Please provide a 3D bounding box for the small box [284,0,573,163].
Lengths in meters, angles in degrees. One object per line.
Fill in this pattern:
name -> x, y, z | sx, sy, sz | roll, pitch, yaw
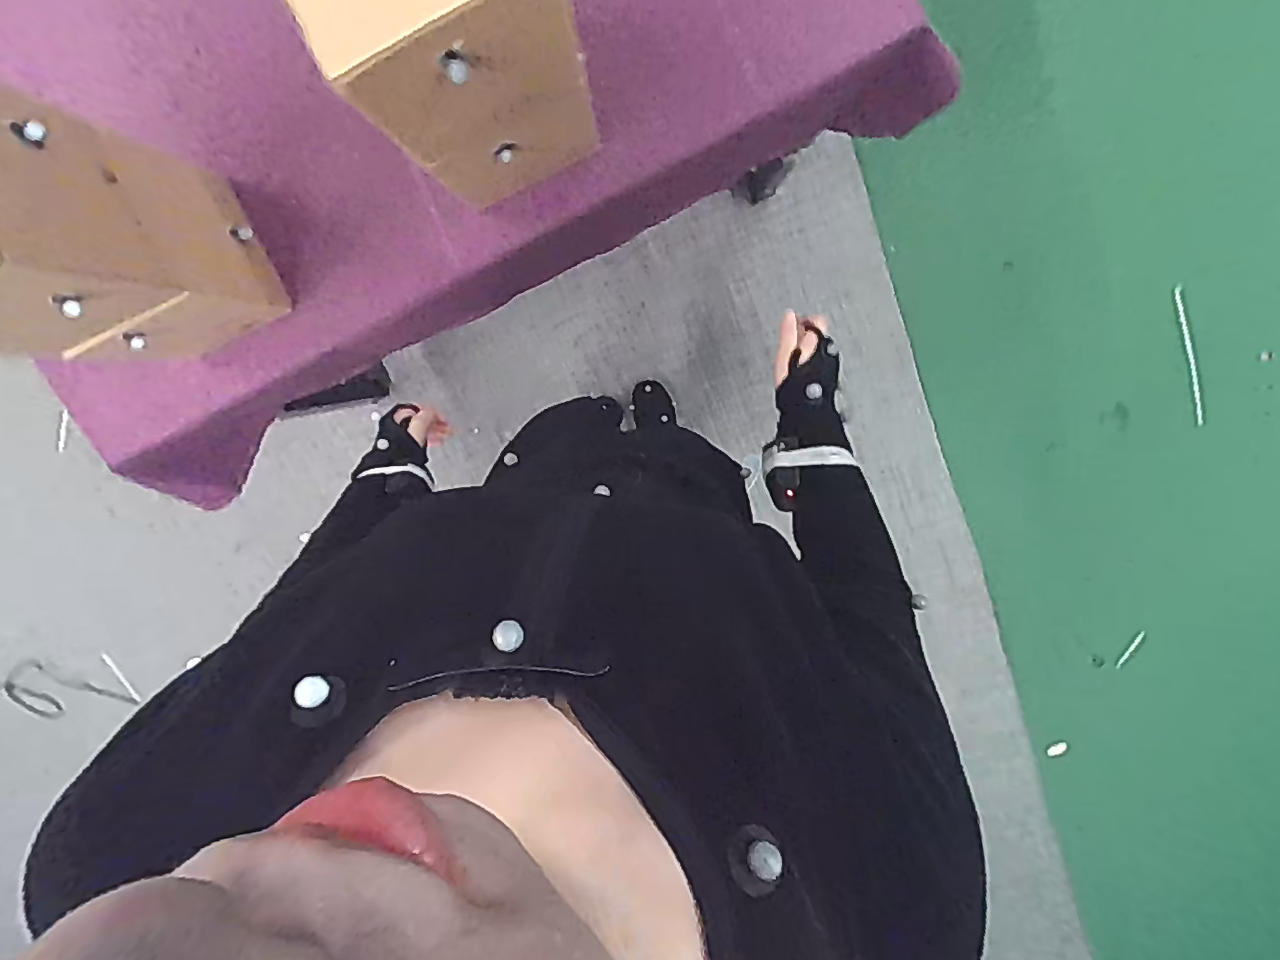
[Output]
small box -> -0.163, -0.387, 0.419 | 0.179, 0.176, 0.168 | -24, 102, 7

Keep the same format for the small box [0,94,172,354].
small box -> -0.565, -0.216, 0.466 | 0.179, 0.176, 0.168 | -21, 101, 6

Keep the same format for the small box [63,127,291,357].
small box -> -0.562, -0.253, 0.626 | 0.168, 0.176, 0.179 | -22, 101, 7

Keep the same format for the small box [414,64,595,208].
small box -> -0.163, -0.422, 0.579 | 0.179, 0.176, 0.168 | -24, 102, 6
